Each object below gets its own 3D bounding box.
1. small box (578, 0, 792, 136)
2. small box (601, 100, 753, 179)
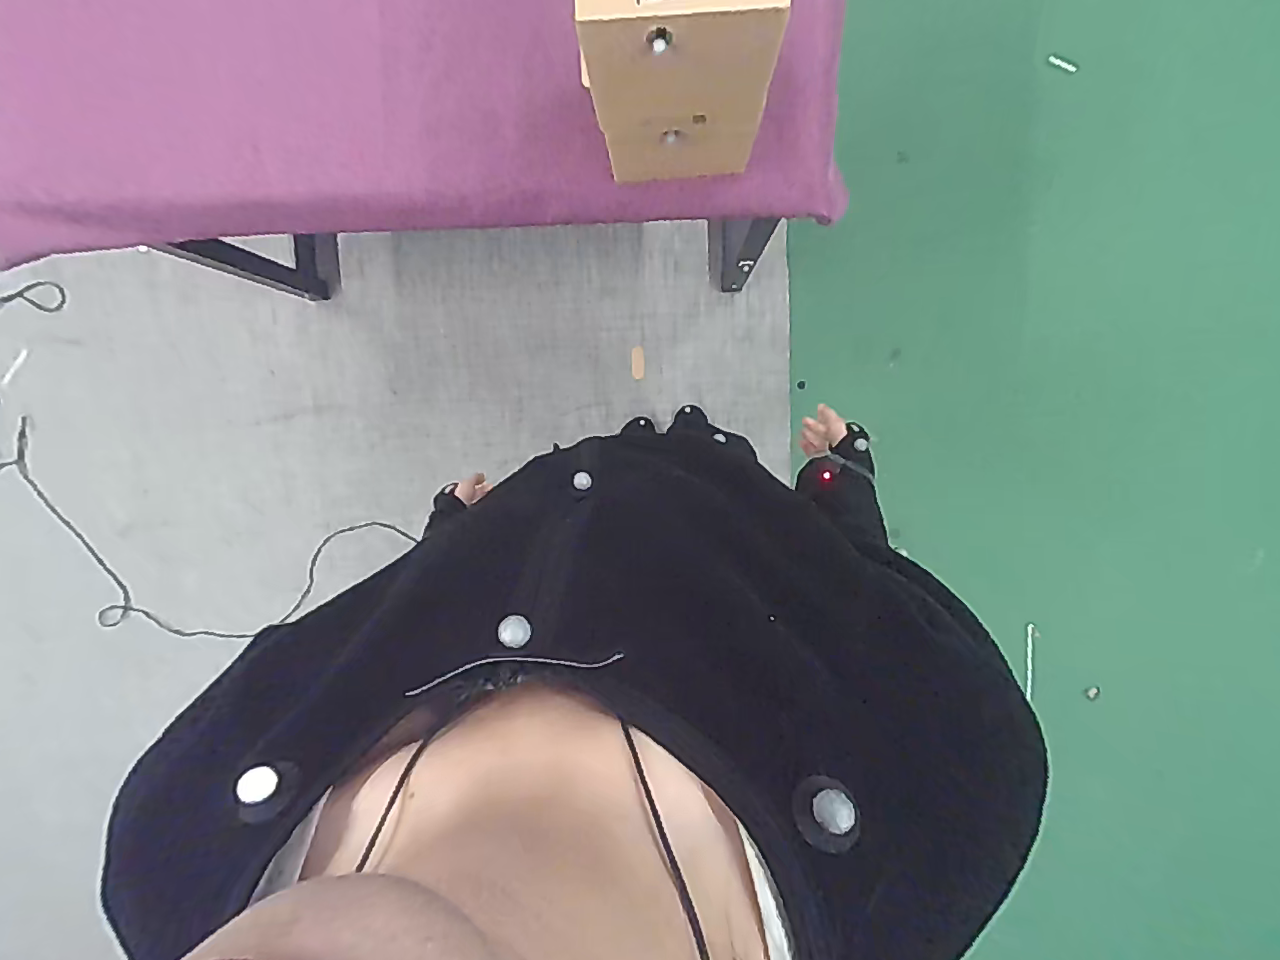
[{"bbox_3d":[0.038,-0.445,0.485,0.168,0.176,0.179,0,96,4],"label":"small box"},{"bbox_3d":[0.047,-0.481,0.645,0.179,0.176,0.168,-3,97,3],"label":"small box"}]
